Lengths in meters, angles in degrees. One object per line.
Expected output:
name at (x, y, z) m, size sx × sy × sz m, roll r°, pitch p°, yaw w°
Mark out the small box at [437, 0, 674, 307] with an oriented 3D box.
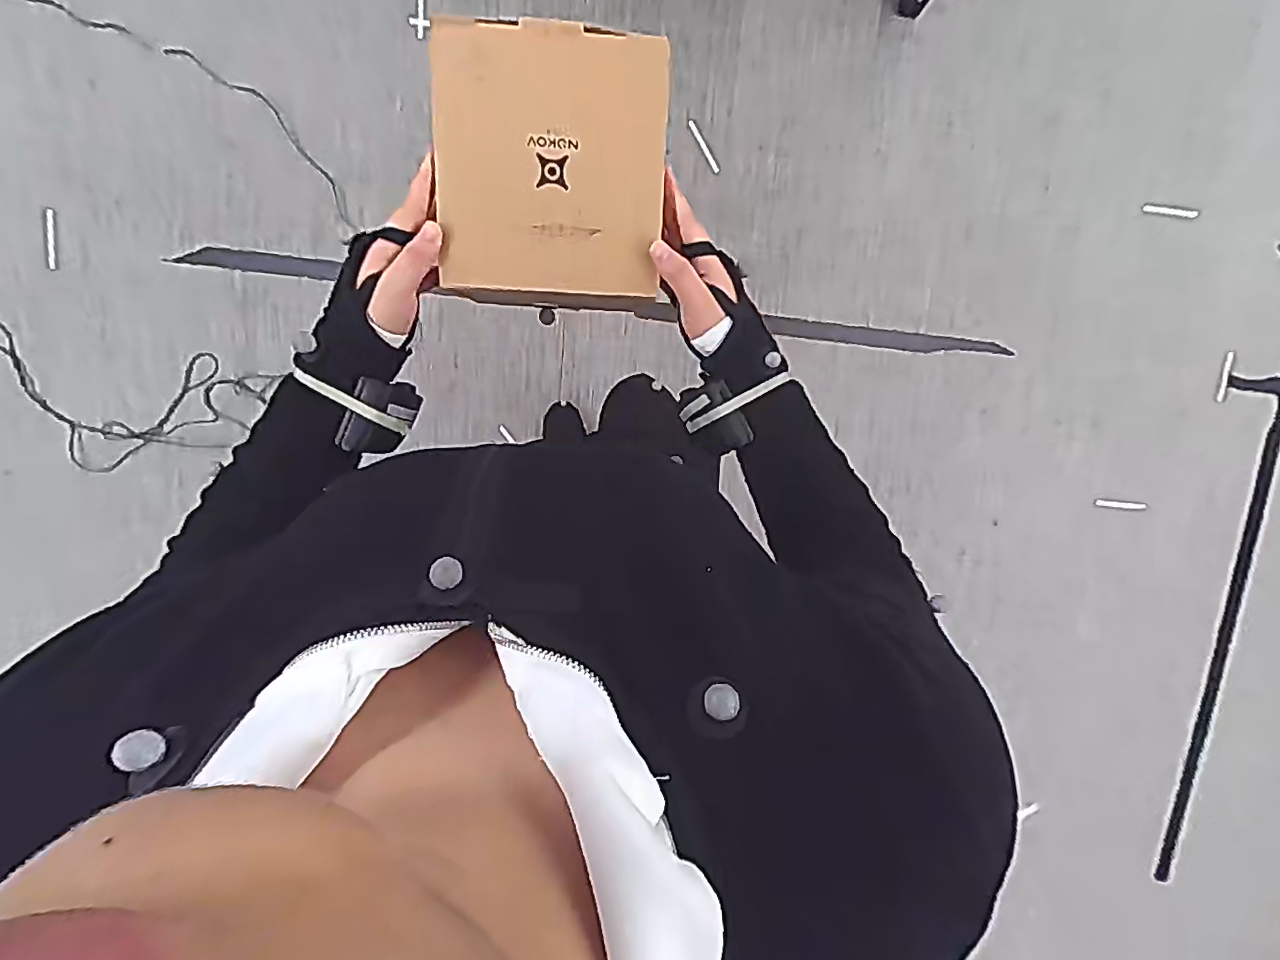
small box at (-0.069, -0.252, 0.466) m, size 0.168 × 0.176 × 0.179 m, roll 1°, pitch 103°, yaw -6°
